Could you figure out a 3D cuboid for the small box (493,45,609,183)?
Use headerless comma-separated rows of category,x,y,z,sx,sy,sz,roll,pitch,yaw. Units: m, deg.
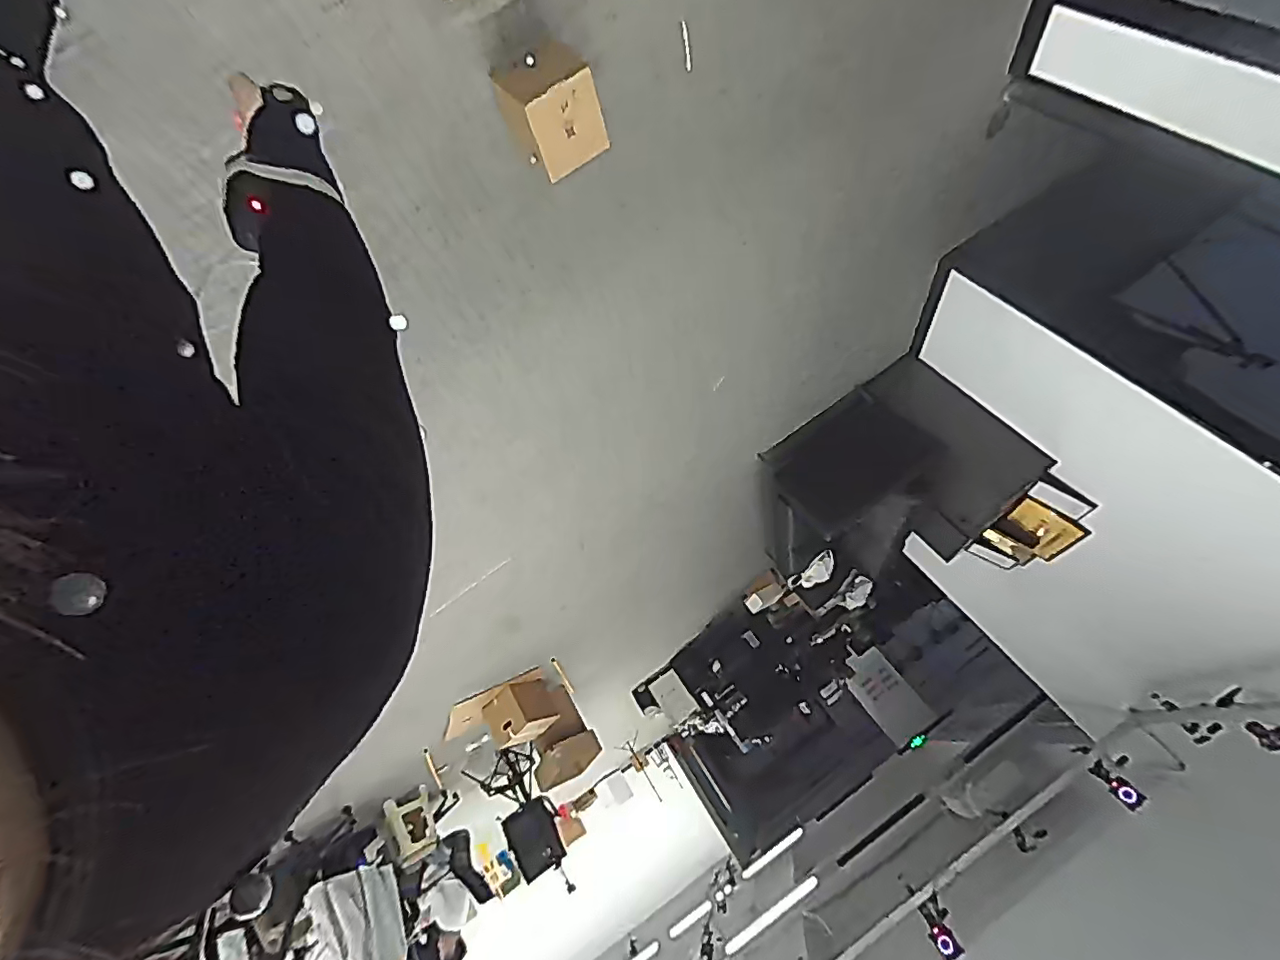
small box,-0.197,-0.817,1.209,0.168,0.176,0.179,-36,152,-6
